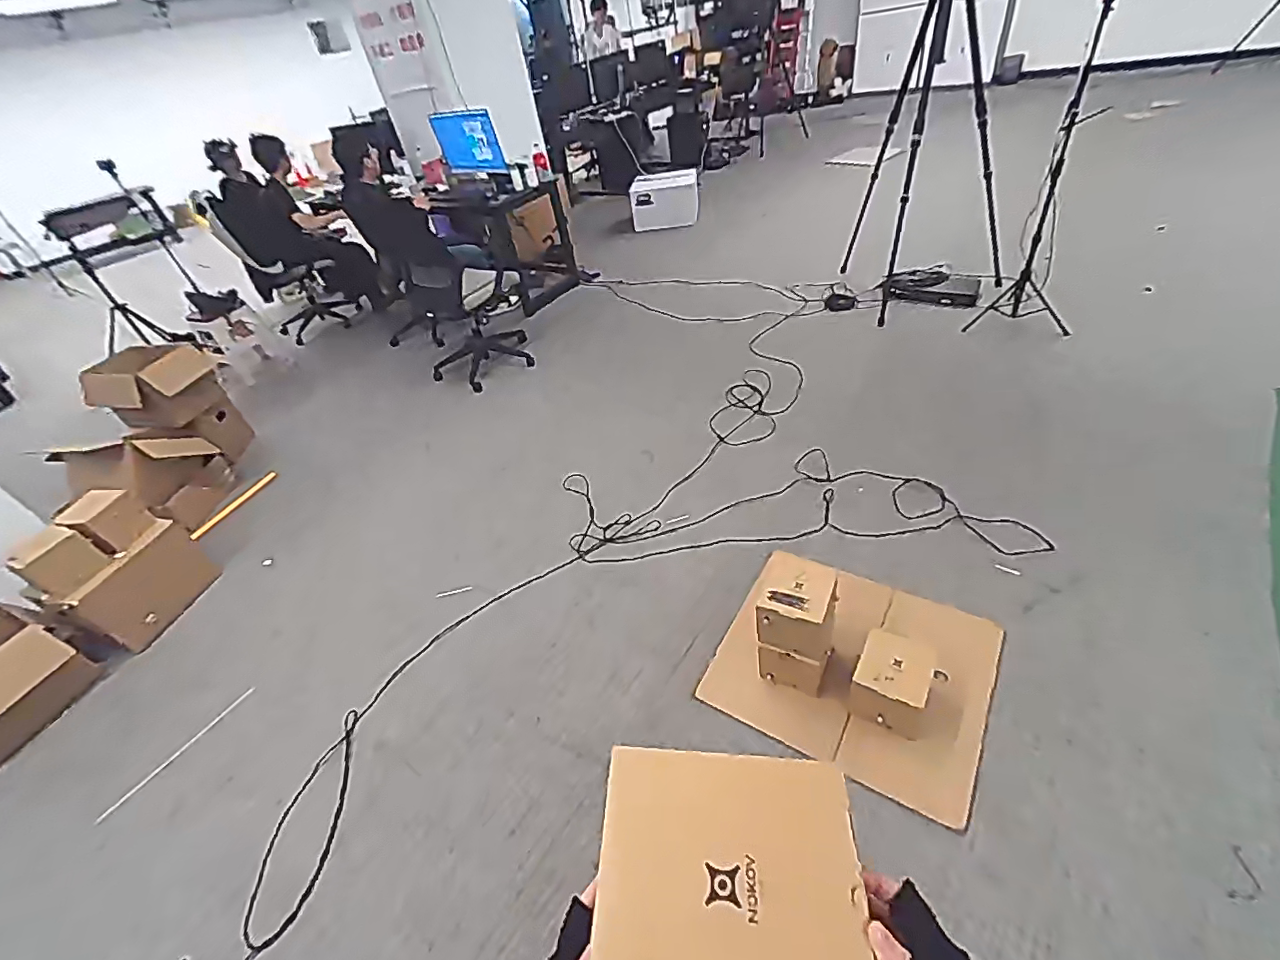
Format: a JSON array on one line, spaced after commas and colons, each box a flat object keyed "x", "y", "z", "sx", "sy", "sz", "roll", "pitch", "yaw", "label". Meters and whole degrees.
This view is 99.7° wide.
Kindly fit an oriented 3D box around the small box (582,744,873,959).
[{"x": 0.058, "y": 0.320, "z": 0.406, "sx": 0.179, "sy": 0.176, "sz": 0.168, "roll": 2, "pitch": 44, "yaw": 4, "label": "small box"}]

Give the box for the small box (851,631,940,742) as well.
[{"x": 0.653, "y": 0.531, "z": 1.396, "sx": 0.168, "sy": 0.176, "sz": 0.179, "roll": 16, "pitch": 48, "yaw": 31, "label": "small box"}]

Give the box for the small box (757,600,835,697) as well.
[{"x": 0.440, "y": 0.474, "z": 1.516, "sx": 0.168, "sy": 0.176, "sz": 0.179, "roll": 13, "pitch": 46, "yaw": 28, "label": "small box"}]
